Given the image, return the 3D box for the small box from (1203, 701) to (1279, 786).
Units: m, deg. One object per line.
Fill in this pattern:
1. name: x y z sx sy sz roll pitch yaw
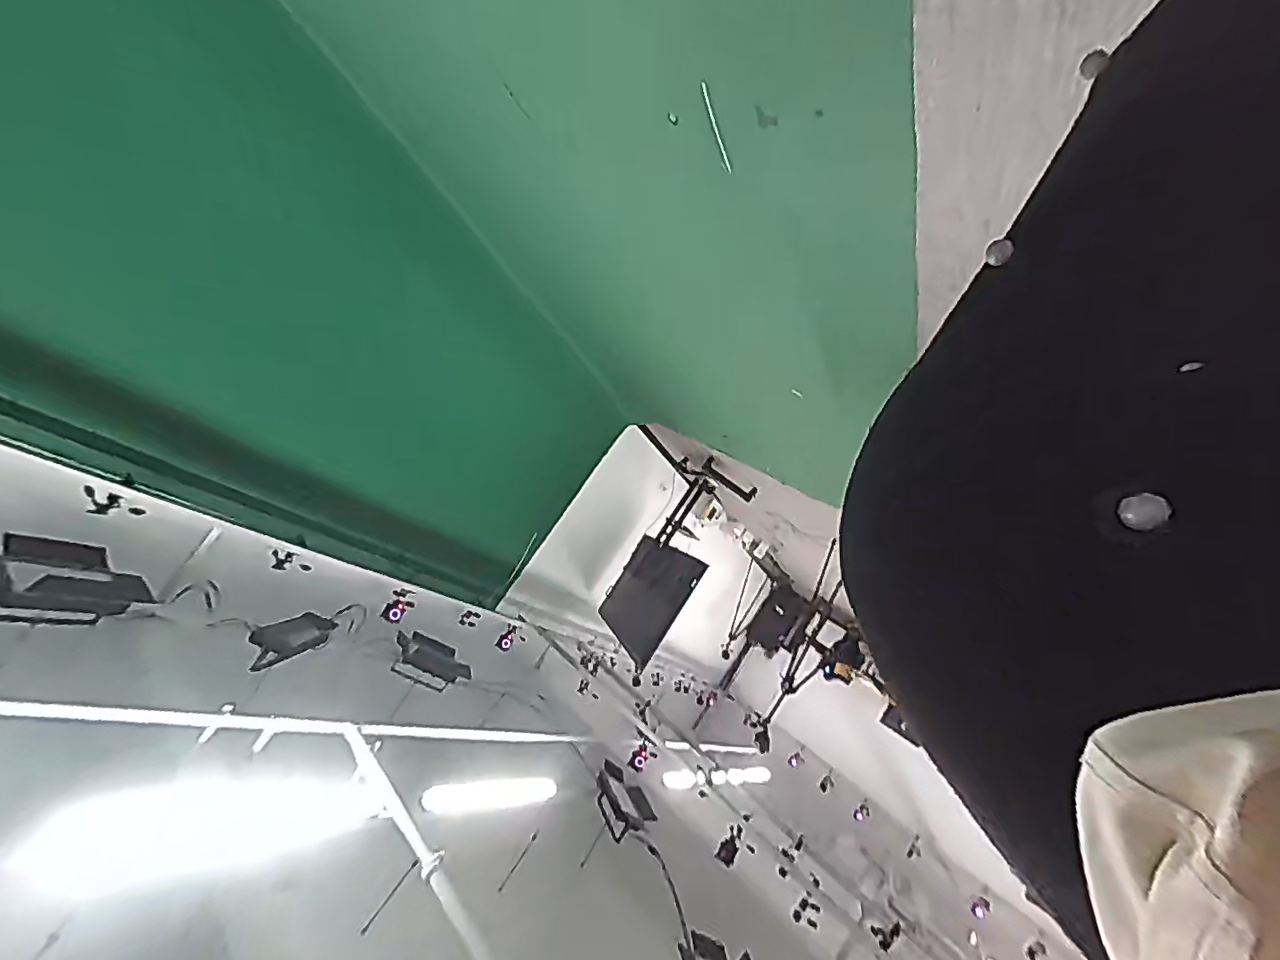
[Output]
1. small box: 1.565 0.672 1.337 0.168 0.176 0.179 29 172 38

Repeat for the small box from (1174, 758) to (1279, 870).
1. small box: 1.470 0.805 1.318 0.168 0.176 0.179 30 172 38
